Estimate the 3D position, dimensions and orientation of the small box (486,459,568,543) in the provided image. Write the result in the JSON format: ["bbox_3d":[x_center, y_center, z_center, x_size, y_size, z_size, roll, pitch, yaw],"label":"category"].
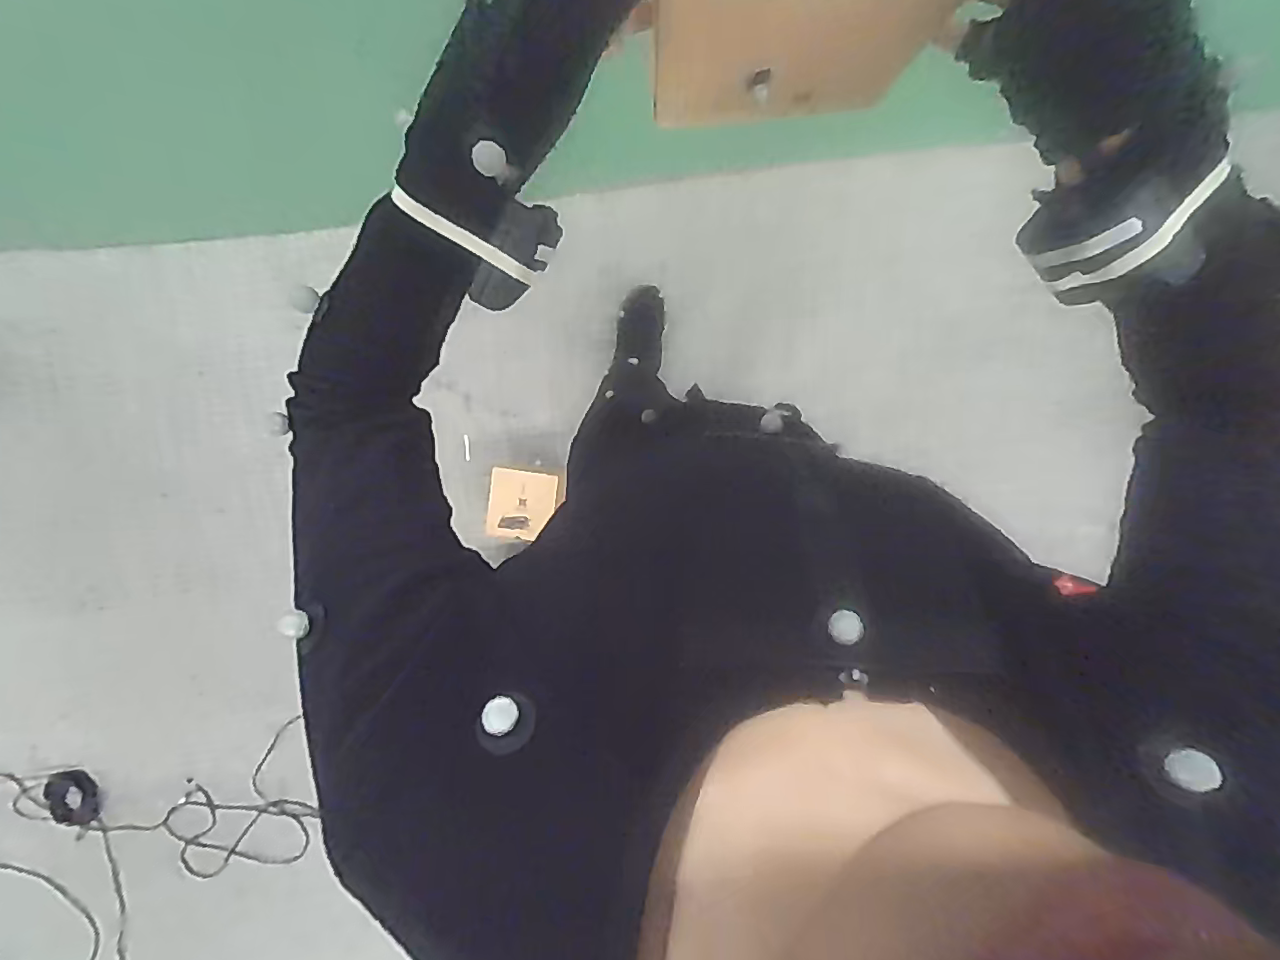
[{"bbox_3d":[-0.287,0.049,1.405,0.168,0.176,0.179,9,97,0],"label":"small box"}]
